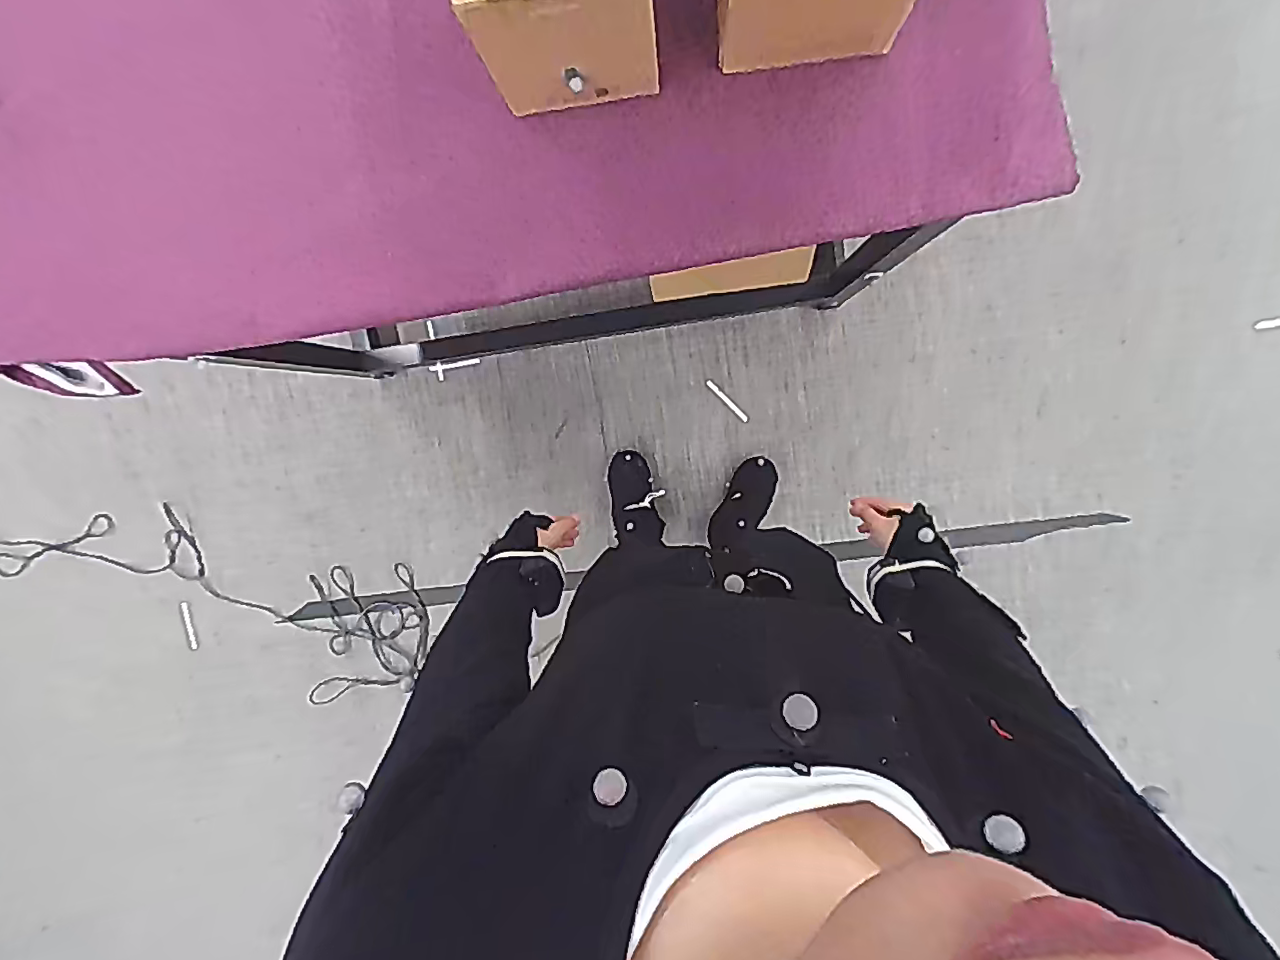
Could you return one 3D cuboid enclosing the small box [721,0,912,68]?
[{"bbox_3d":[0.166,-0.516,0.488,0.179,0.176,0.168,-3,96,5],"label":"small box"}]

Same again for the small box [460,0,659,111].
[{"bbox_3d":[-0.073,-0.493,0.508,0.168,0.176,0.179,-5,96,6],"label":"small box"}]
